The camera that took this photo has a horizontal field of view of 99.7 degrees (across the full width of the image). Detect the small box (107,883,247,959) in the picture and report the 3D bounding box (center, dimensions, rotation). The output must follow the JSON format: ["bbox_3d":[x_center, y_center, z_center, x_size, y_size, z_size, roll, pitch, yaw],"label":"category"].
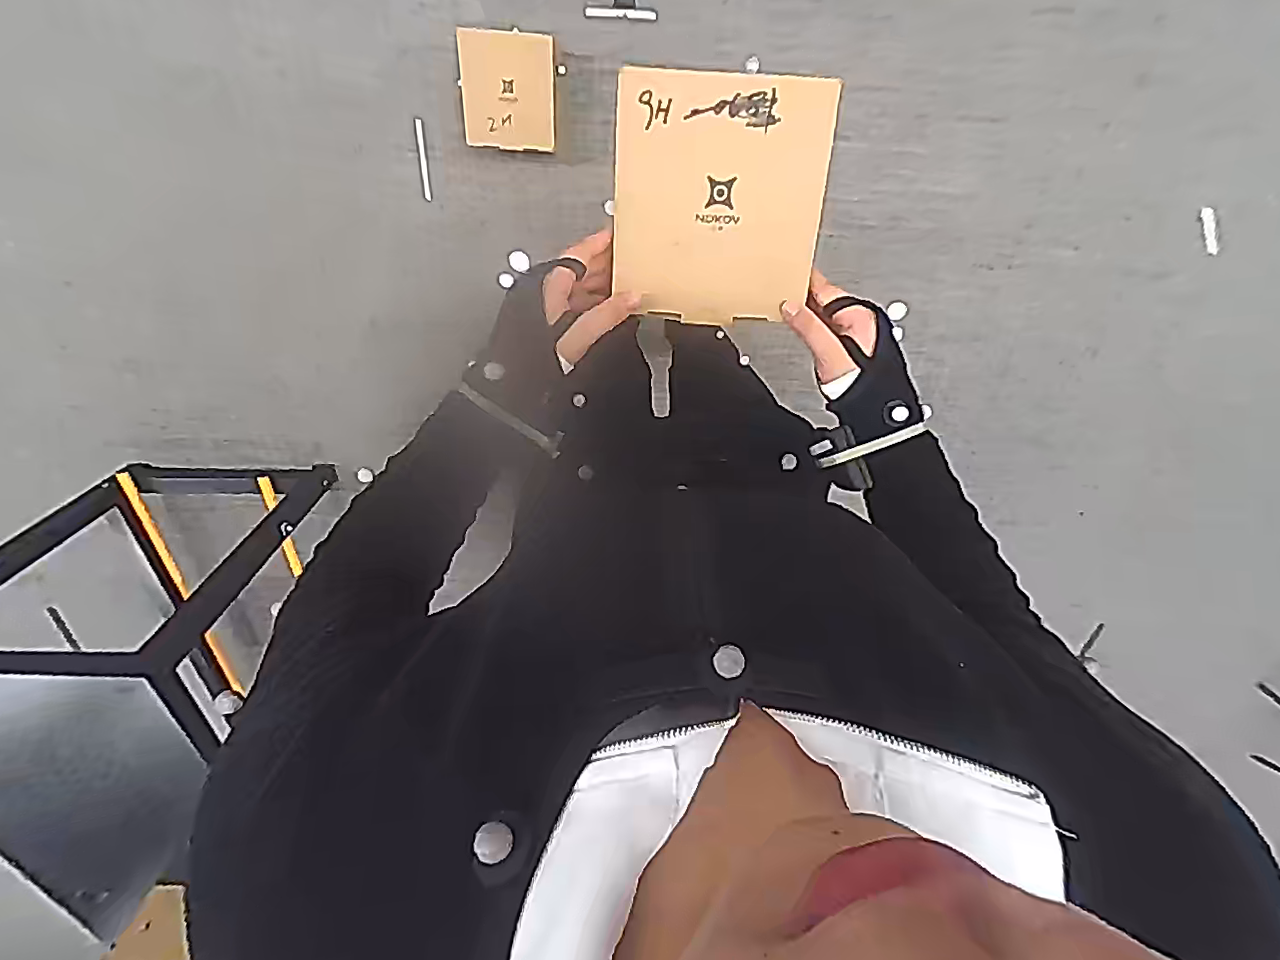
[{"bbox_3d":[-1.112,1.106,1.309,0.179,0.176,0.168,1,123,-3],"label":"small box"}]

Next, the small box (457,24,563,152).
[{"bbox_3d":[-0.240,-0.738,1.034,0.168,0.176,0.179,3,122,-3],"label":"small box"}]
